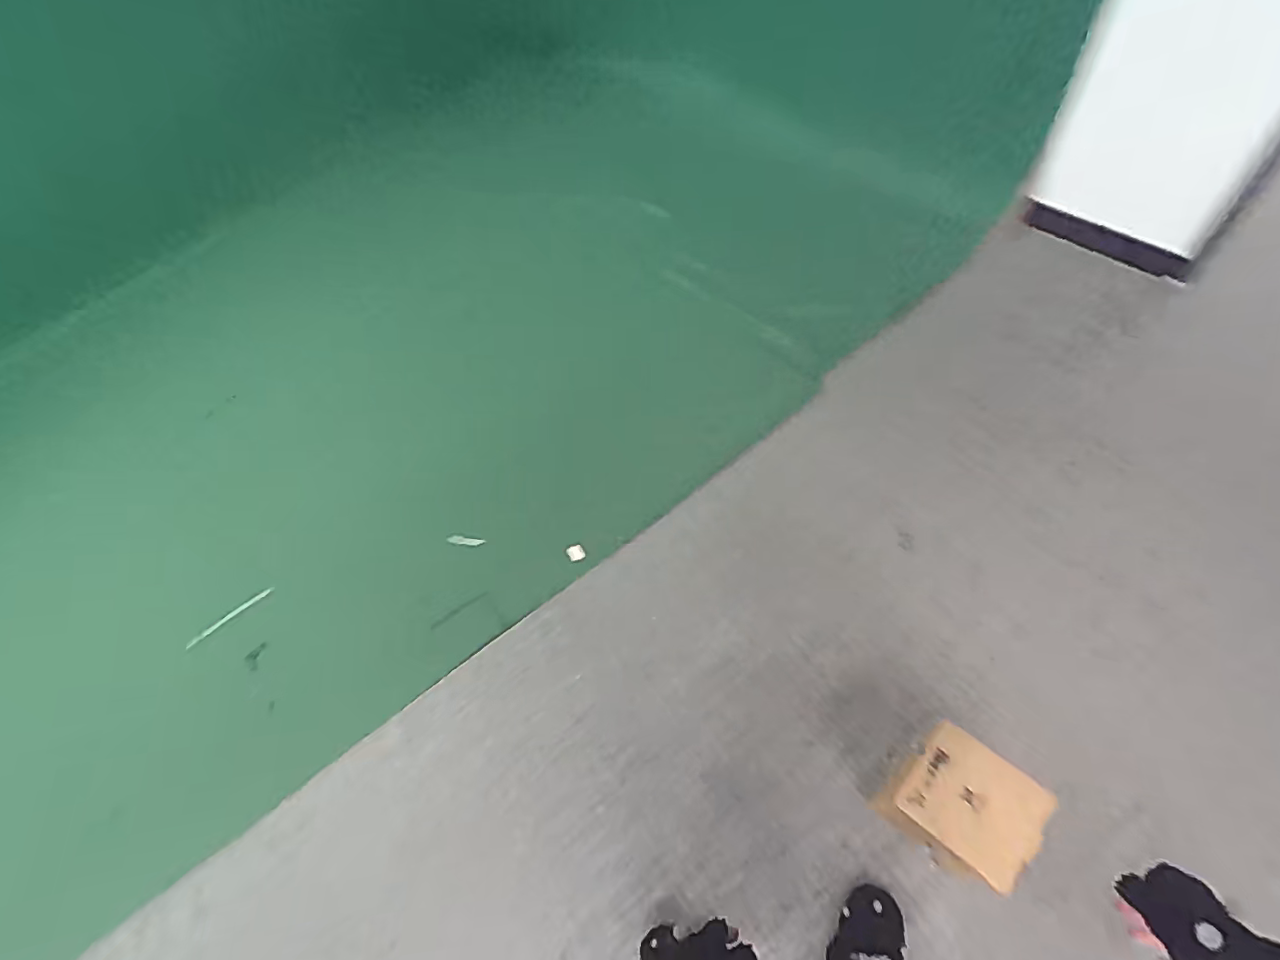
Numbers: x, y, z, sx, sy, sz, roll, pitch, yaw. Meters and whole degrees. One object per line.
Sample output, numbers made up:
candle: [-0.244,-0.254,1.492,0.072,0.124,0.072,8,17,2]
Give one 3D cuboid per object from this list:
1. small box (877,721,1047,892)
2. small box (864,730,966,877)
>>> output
small box: [0.529,0.539,0.913,0.179,0.176,0.168,33,74,30]
small box: [0.563,0.620,1.049,0.179,0.176,0.168,35,73,31]
